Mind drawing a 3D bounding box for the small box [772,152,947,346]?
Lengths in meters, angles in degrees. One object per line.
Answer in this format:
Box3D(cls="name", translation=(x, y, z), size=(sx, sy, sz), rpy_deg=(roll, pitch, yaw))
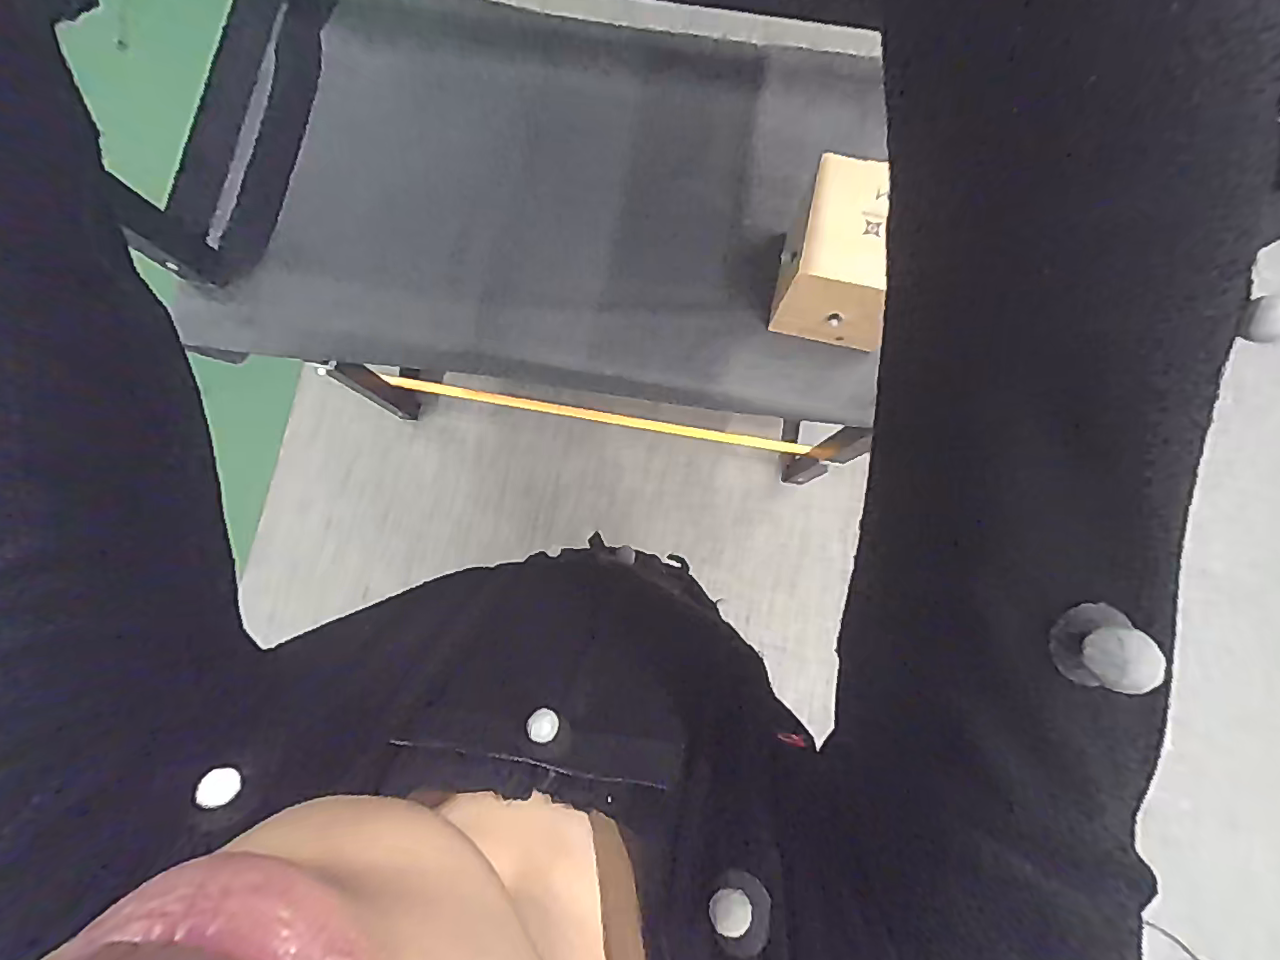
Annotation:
Box3D(cls="small box", translation=(0.294, -0.310, 0.760), size=(0.168, 0.176, 0.179), rpy_deg=(13, 81, 2))
